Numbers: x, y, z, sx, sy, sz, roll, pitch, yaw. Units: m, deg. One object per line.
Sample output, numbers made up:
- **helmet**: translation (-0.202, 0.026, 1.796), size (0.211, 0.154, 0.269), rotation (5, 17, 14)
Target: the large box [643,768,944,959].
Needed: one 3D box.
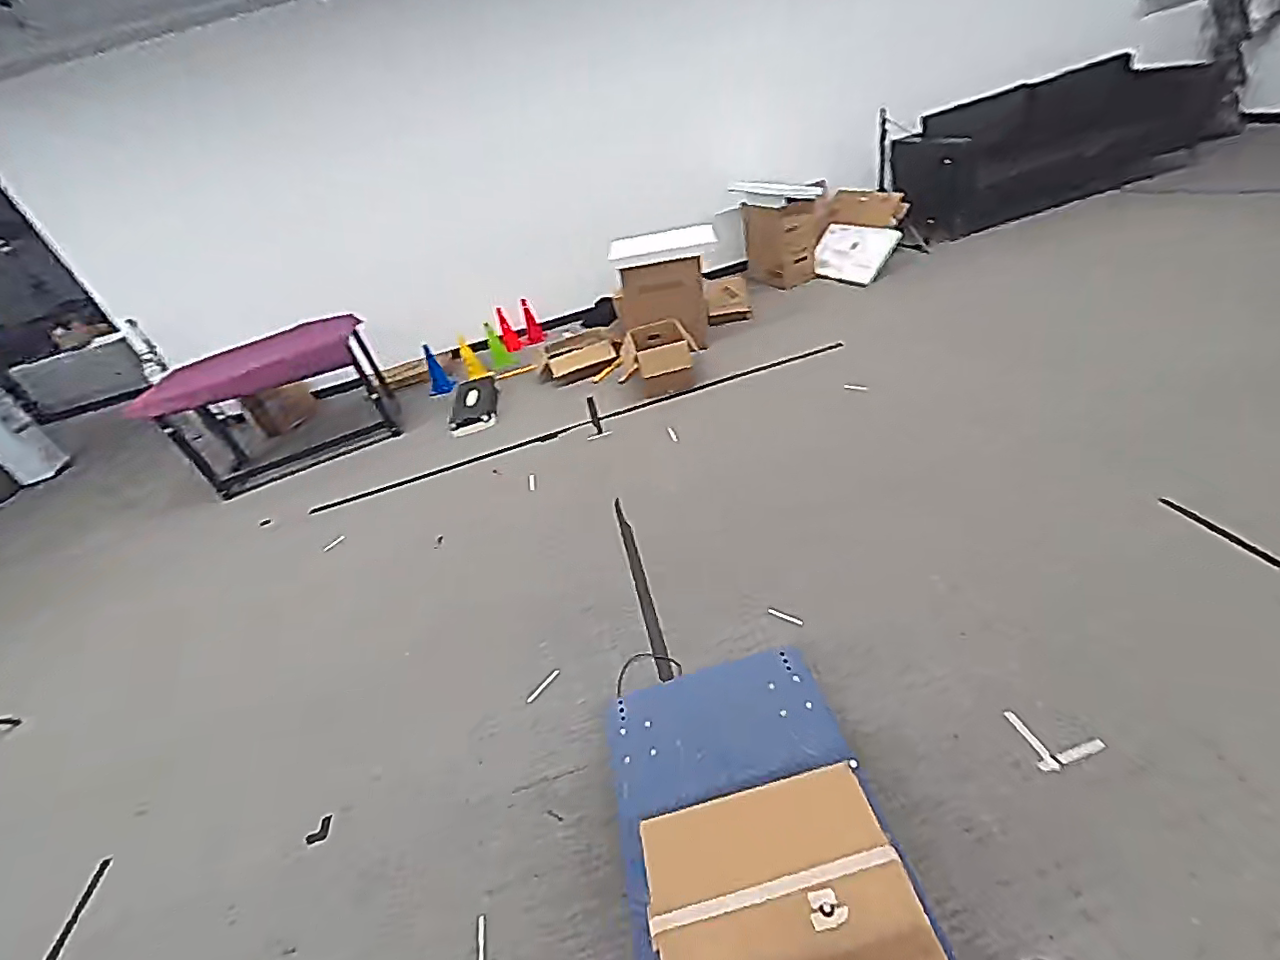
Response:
- **large box**: translation (0.249, 0.788, 0.956), size (0.408, 0.320, 0.320), rotation (-15, 35, -1)
